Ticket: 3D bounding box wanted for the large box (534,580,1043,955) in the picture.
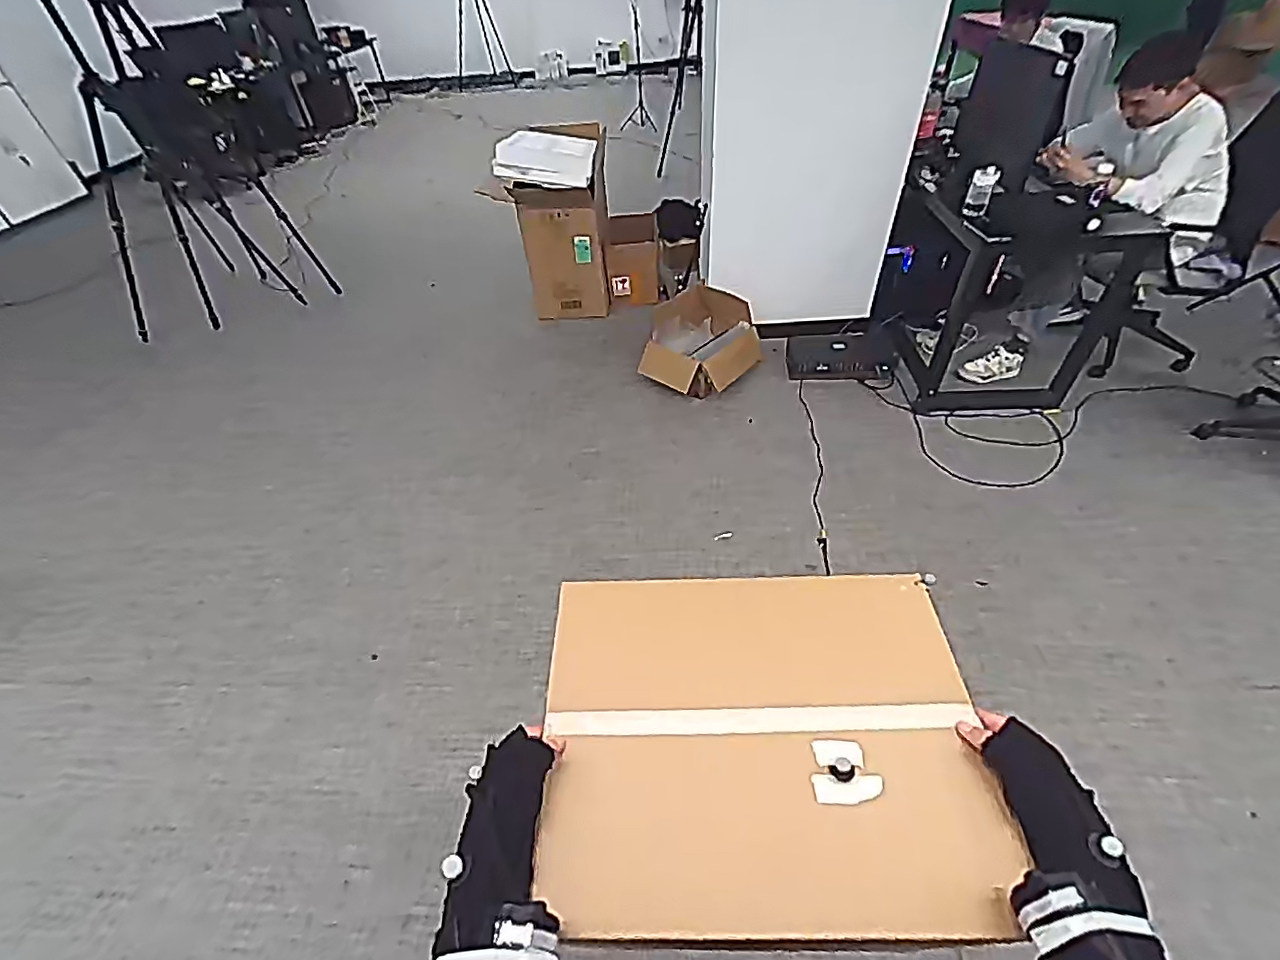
[{"bbox_3d":[0.116,0.334,0.625,0.408,0.320,0.320,-2,48,2],"label":"large box"}]
